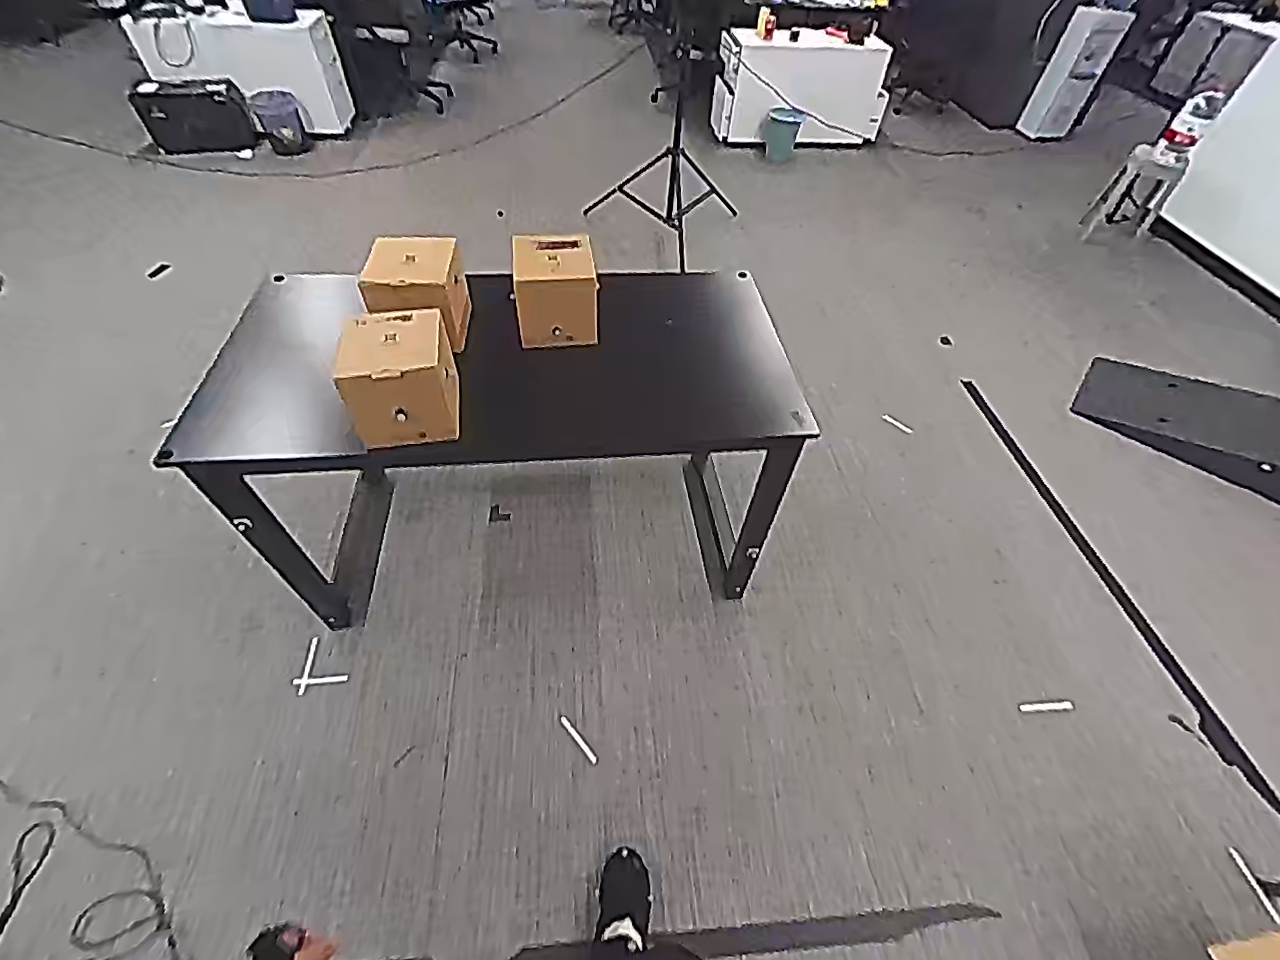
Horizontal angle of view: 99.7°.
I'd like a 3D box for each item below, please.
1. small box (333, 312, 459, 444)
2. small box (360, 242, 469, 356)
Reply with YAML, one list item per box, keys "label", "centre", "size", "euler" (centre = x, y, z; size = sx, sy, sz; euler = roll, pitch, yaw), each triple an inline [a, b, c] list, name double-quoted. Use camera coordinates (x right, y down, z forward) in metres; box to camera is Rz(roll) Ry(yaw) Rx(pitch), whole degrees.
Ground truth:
- label: "small box"
  centre: [-0.432, -0.180, 0.987]
  size: [0.168, 0.176, 0.179]
  euler: [-8, 52, -10]
- label: "small box"
  centre: [-0.470, -0.387, 1.158]
  size: [0.168, 0.176, 0.179]
  euler: [-2, 51, -5]
